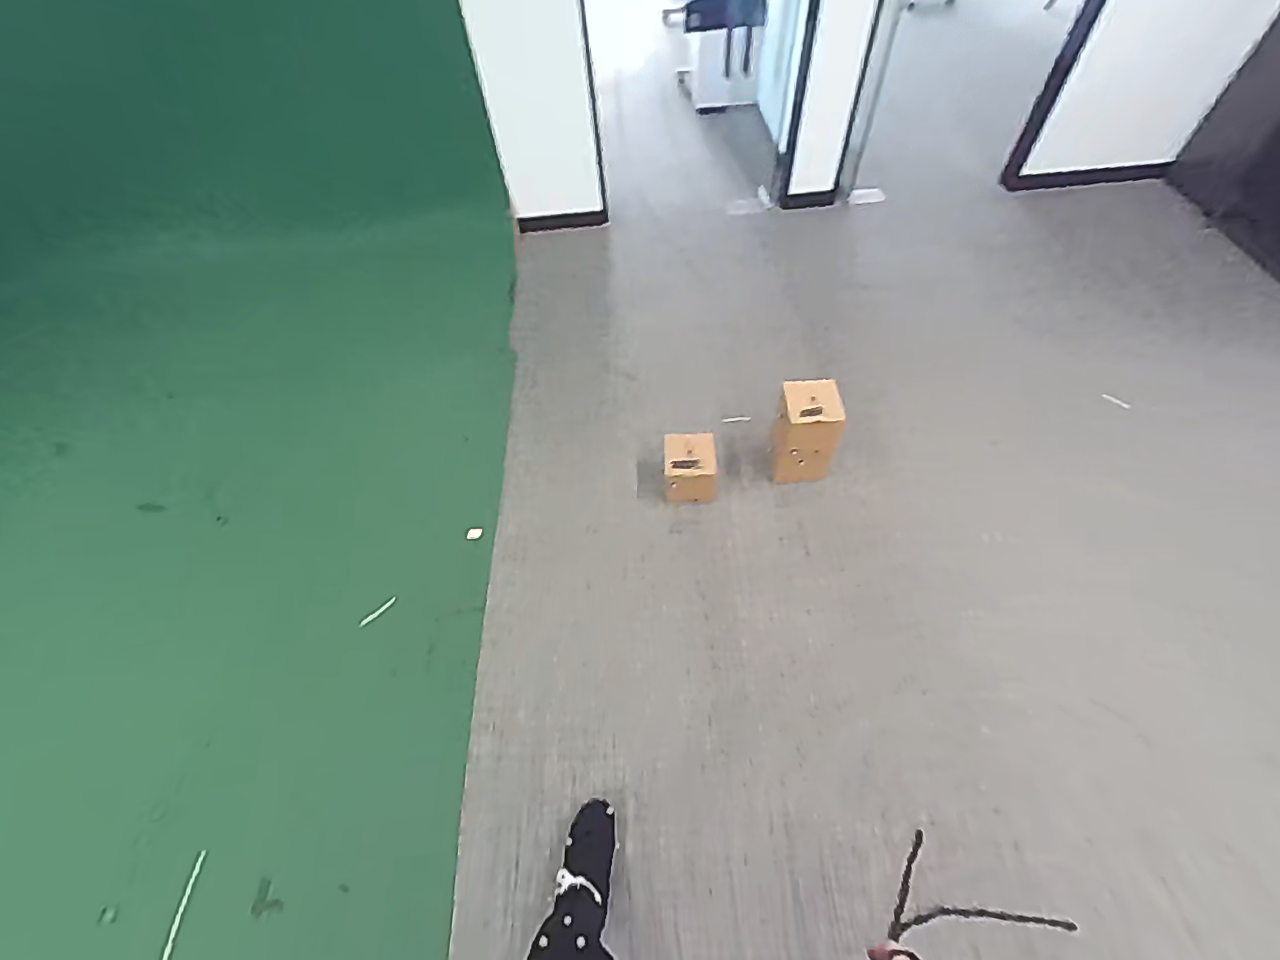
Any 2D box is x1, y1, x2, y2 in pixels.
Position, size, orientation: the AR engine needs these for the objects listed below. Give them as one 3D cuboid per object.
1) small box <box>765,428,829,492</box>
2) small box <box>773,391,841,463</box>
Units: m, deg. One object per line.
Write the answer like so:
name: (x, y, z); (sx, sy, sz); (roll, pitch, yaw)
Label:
small box: (0.536, -0.071, 1.877); (0.179, 0.176, 0.168); (-3, 54, 0)
small box: (0.531, -0.165, 1.742); (0.168, 0.176, 0.179); (-2, 53, 2)
